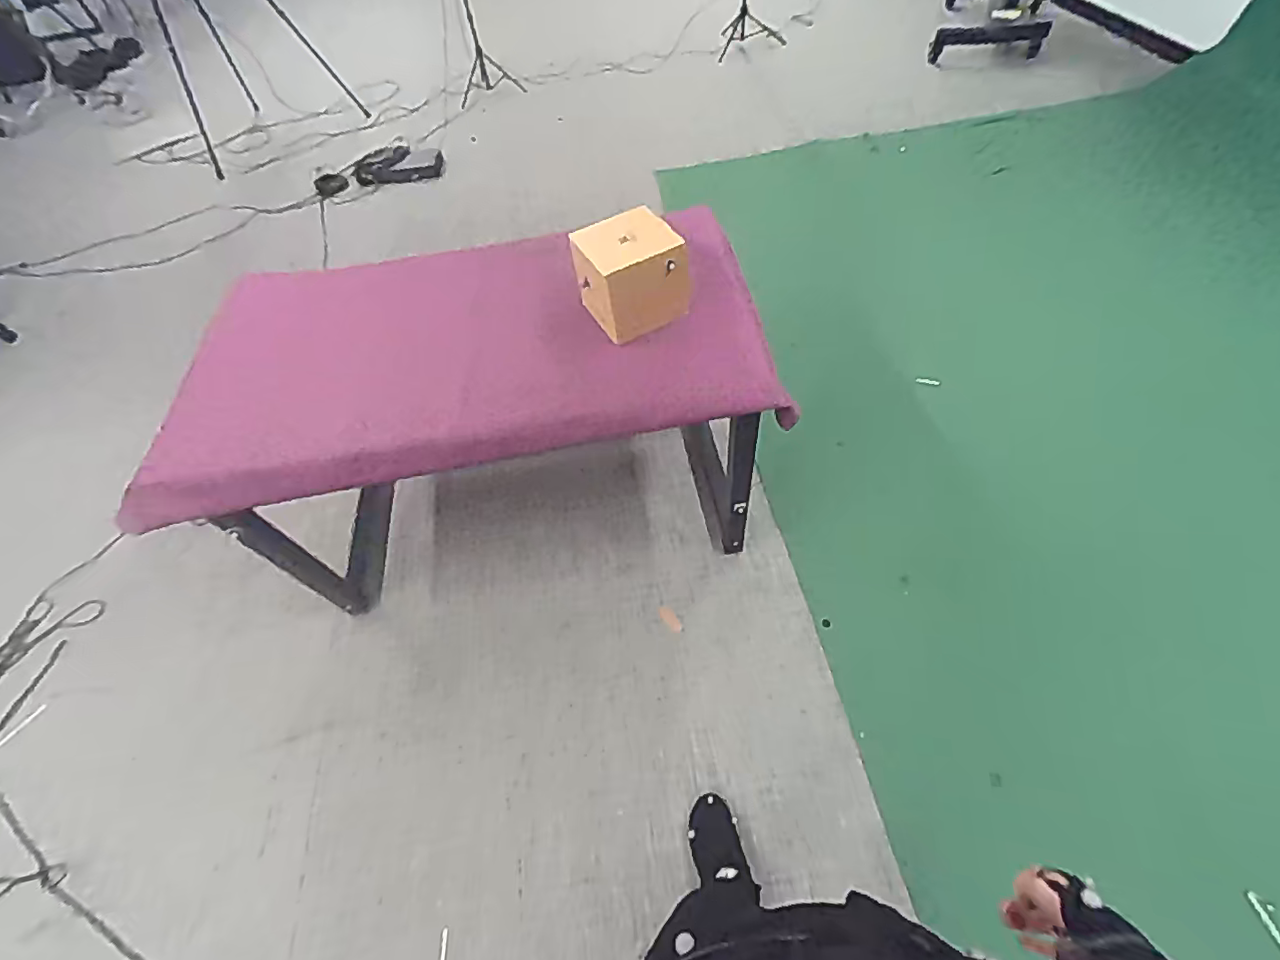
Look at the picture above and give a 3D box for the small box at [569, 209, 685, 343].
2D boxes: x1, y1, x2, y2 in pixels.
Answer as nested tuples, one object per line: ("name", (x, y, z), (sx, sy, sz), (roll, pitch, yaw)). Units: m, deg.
("small box", (-0.019, -0.406, 1.088), (0.179, 0.176, 0.168), (-26, 57, -13))
